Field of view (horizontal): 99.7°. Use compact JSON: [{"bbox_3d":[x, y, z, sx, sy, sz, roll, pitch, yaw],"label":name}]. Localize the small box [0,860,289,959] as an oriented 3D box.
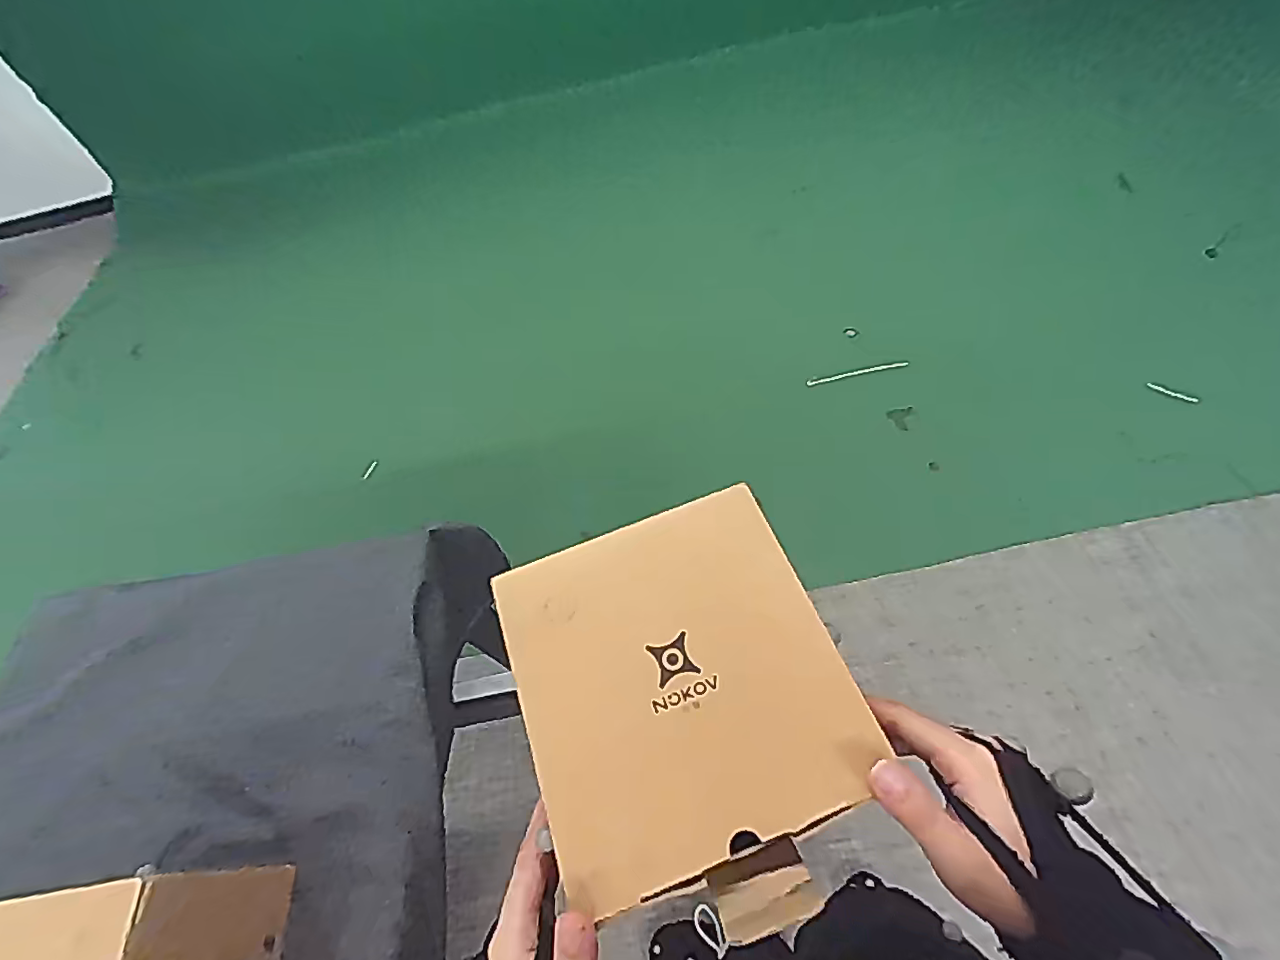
[{"bbox_3d":[-0.435,0.427,0.445,0.179,0.176,0.168,-11,57,2],"label":"small box"}]
